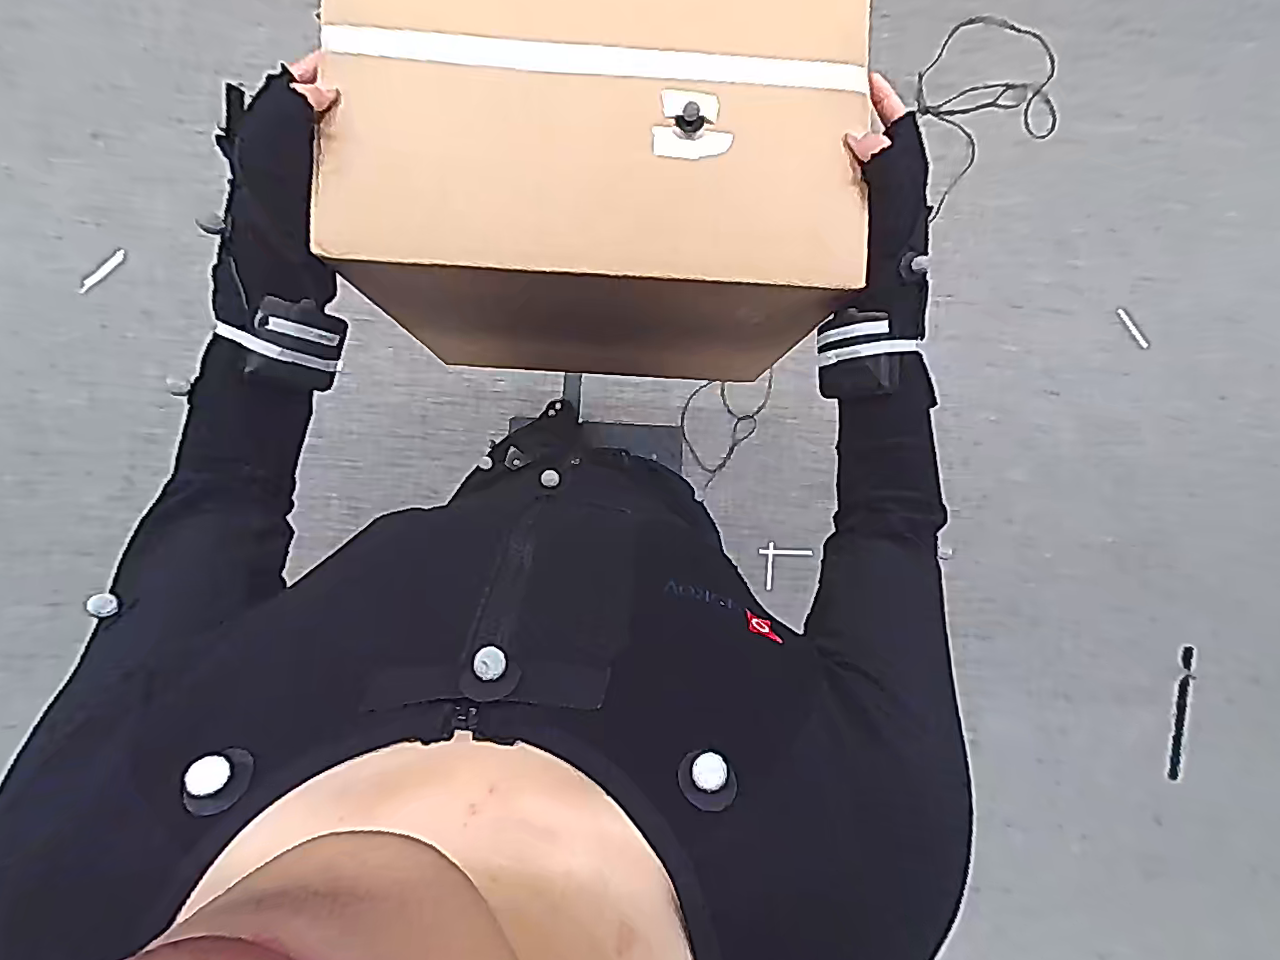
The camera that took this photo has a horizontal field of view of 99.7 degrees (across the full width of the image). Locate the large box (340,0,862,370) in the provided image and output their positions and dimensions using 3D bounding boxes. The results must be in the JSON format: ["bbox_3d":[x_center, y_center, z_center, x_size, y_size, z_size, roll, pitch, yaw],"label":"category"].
[{"bbox_3d":[-0.032,-0.309,0.568,0.408,0.320,0.320,2,88,-3],"label":"large box"}]

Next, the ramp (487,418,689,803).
[{"bbox_3d":[-0.128,0.326,1.463,0.509,0.206,0.991,1,91,0],"label":"ramp"}]
